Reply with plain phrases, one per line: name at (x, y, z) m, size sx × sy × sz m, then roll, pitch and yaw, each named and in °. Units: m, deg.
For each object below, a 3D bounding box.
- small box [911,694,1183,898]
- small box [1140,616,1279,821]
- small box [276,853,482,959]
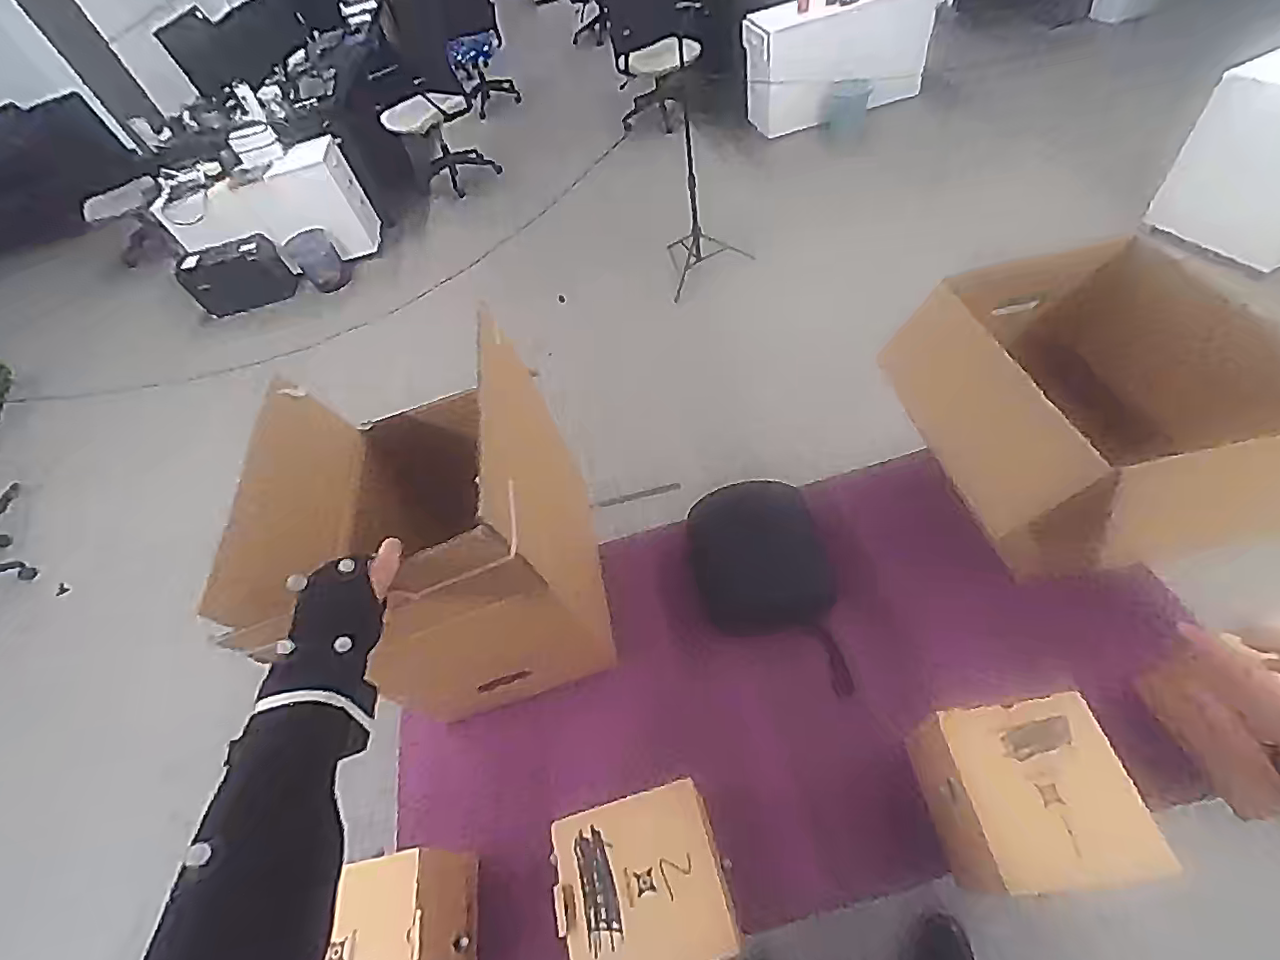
small box at (0.447, 0.374, 0.637) m, size 0.168 × 0.176 × 0.179 m, roll -11°, pitch 53°, yaw 5°
small box at (0.765, 0.275, 0.637) m, size 0.168 × 0.176 × 0.179 m, roll -17°, pitch 51°, yaw 1°
small box at (-0.311, 0.576, 0.658) m, size 0.179 × 0.176 × 0.168 m, roll -14°, pitch 51°, yaw 1°
